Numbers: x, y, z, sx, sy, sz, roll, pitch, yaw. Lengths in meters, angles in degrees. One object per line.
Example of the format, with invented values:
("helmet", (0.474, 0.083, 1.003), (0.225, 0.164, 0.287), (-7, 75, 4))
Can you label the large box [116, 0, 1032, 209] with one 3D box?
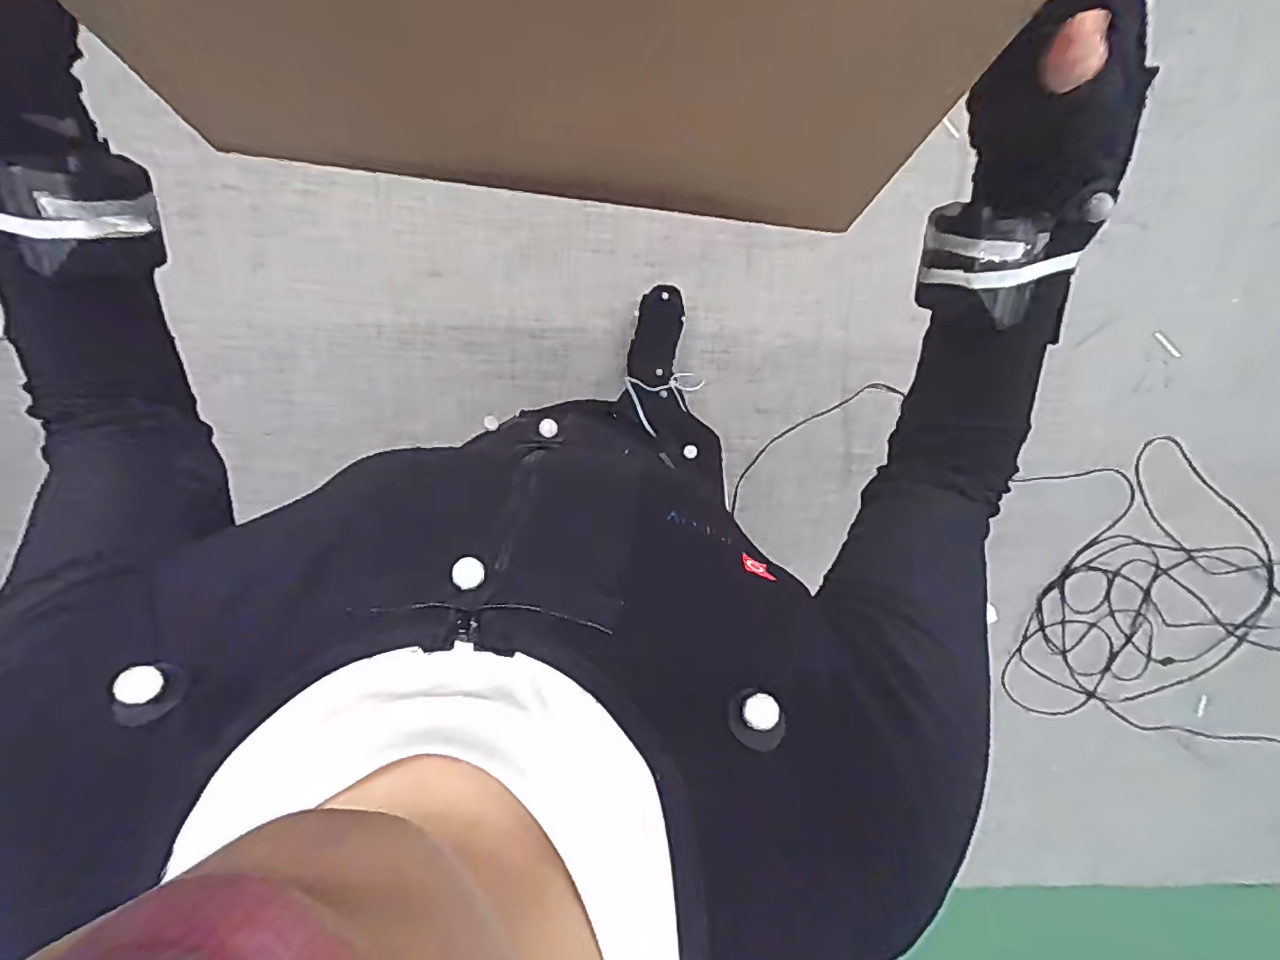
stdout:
("large box", (-0.028, -0.353, 0.209), (0.408, 0.320, 0.320), (6, 87, -5))
